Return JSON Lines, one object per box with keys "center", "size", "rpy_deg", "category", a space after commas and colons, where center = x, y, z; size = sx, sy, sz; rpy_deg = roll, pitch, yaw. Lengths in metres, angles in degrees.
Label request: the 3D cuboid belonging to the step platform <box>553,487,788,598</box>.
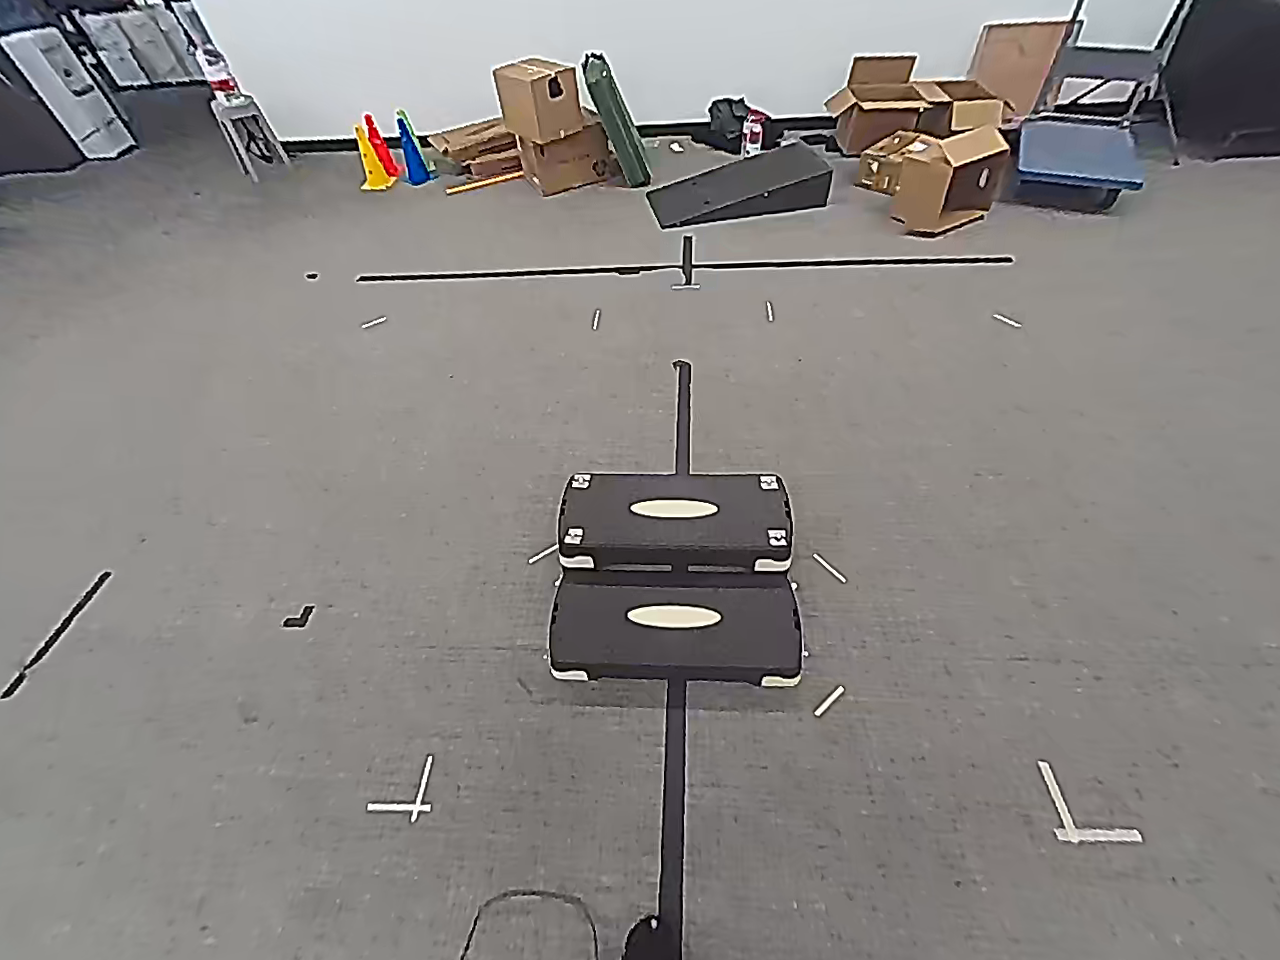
{"center": [0.087, 0.180, 1.614], "size": [0.684, 0.204, 0.286], "rpy_deg": [0, 50, 3], "category": "step platform"}
